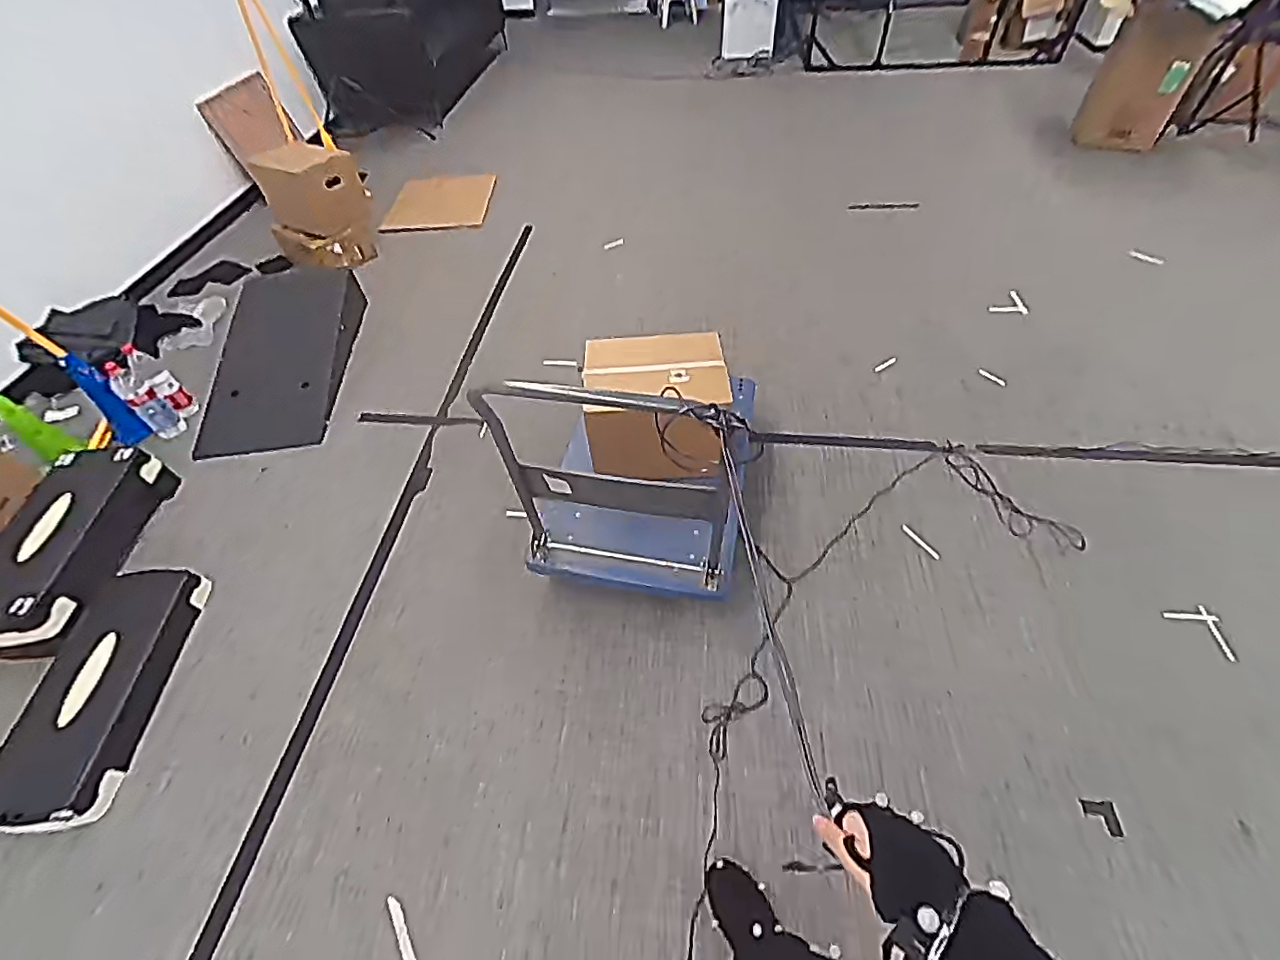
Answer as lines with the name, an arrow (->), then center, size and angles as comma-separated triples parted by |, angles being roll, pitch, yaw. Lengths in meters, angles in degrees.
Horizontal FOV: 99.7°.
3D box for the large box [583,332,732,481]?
large box -> 0.043, -0.218, 1.633 | 0.408, 0.320, 0.320 | -3, 52, 0
